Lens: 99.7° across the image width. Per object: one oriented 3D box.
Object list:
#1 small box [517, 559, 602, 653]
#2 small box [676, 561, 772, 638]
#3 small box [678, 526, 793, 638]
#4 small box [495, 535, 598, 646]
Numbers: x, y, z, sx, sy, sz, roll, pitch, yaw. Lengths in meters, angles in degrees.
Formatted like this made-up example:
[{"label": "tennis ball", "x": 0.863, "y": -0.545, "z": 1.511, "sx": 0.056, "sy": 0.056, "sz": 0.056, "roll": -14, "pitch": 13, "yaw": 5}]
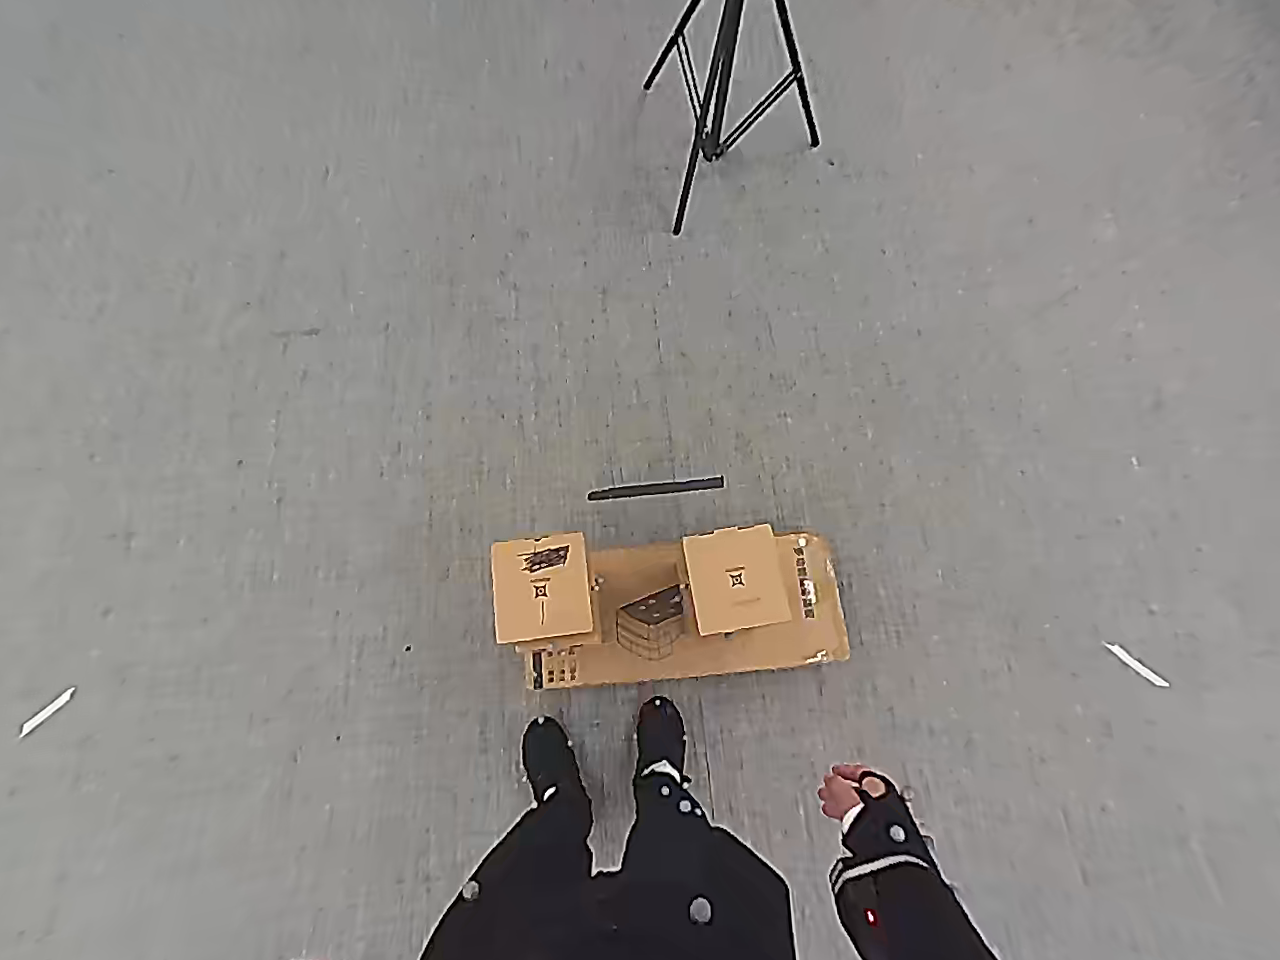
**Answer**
[{"label": "small box", "x": -0.171, "y": 0.275, "z": 1.164, "sx": 0.168, "sy": 0.176, "sz": 0.179, "roll": -5, "pitch": 73, "yaw": -3}, {"label": "small box", "x": 0.176, "y": 0.246, "z": 1.183, "sx": 0.168, "sy": 0.176, "sz": 0.179, "roll": -6, "pitch": 74, "yaw": -4}, {"label": "small box", "x": 0.170, "y": 0.199, "z": 1.028, "sx": 0.168, "sy": 0.176, "sz": 0.179, "roll": -10, "pitch": 74, "yaw": -3}, {"label": "small box", "x": -0.170, "y": 0.212, "z": 1.012, "sx": 0.168, "sy": 0.176, "sz": 0.179, "roll": -7, "pitch": 73, "yaw": -4}]
